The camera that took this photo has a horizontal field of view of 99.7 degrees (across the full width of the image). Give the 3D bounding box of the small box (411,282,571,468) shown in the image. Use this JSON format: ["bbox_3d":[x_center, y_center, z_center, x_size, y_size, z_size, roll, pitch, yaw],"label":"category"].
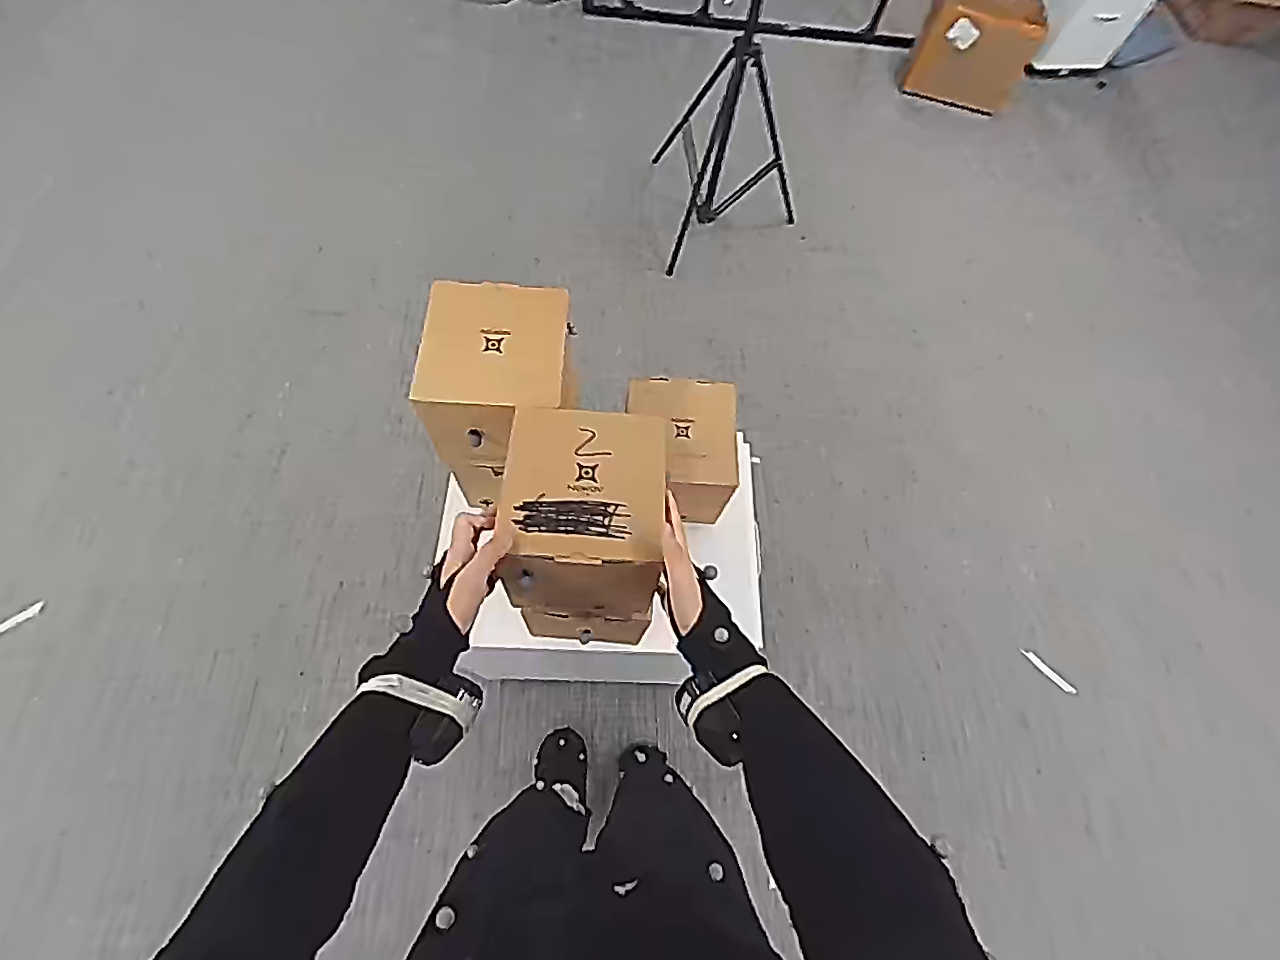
[{"bbox_3d":[-0.177,-0.126,0.700,0.168,0.176,0.179,2,66,-6],"label":"small box"}]

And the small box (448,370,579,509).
[{"bbox_3d":[-0.185,-0.060,0.848,0.168,0.176,0.179,5,65,-5],"label":"small box"}]

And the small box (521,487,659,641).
[{"bbox_3d":[-0.068,0.128,0.776,0.168,0.176,0.179,6,65,-4],"label":"small box"}]

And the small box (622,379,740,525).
[{"bbox_3d":[0.058,-0.039,0.868,0.168,0.176,0.179,2,67,-3],"label":"small box"}]
